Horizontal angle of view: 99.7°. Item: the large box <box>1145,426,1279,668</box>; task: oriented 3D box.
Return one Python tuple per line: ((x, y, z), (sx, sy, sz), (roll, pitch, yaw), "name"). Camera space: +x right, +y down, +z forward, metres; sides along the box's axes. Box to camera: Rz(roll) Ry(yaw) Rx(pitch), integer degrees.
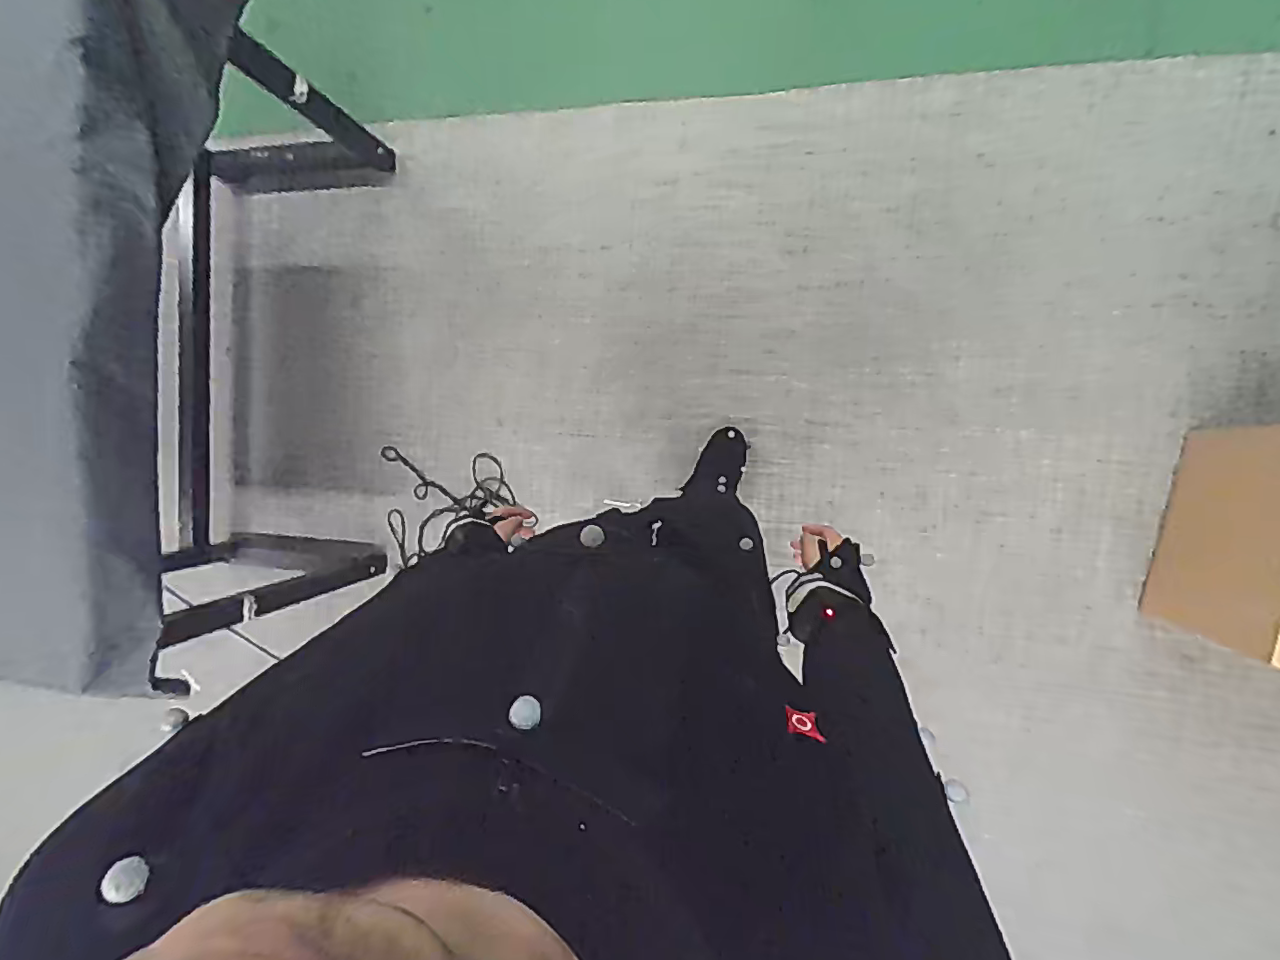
((1.228, 0.119, 0.973), (0.320, 0.320, 0.408), (10, 96, 12), "large box")
